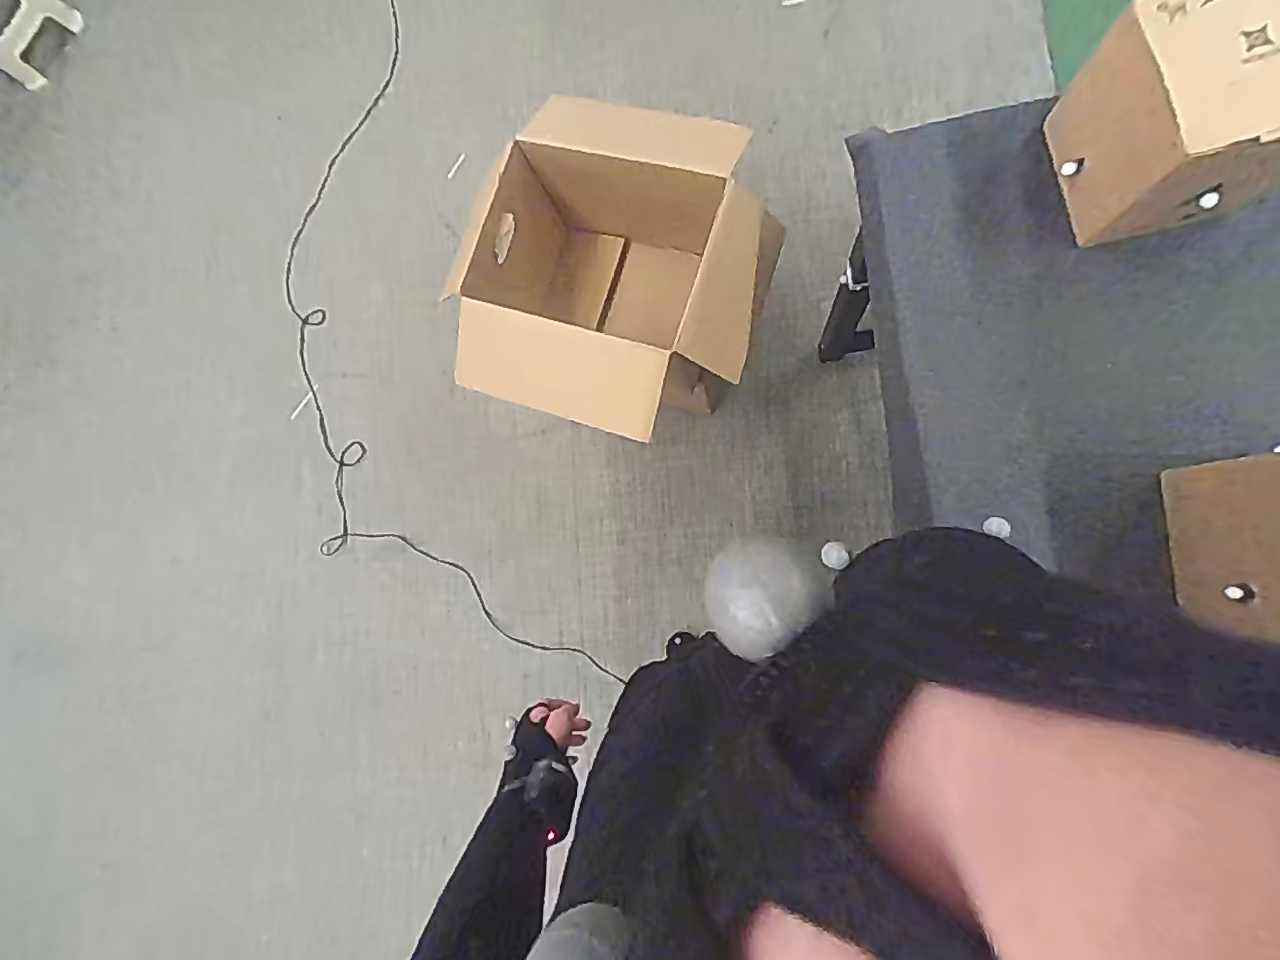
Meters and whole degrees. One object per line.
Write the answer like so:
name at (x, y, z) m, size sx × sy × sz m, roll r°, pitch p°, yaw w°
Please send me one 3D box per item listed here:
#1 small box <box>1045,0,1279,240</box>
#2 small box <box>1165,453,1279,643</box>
small box at (0.585, -0.385, 0.582) m, size 0.168 × 0.176 × 0.179 m, roll -11°, pitch 82°, yaw 10°
small box at (0.660, 0.065, 0.511) m, size 0.168 × 0.176 × 0.179 m, roll -3°, pitch 81°, yaw 10°
